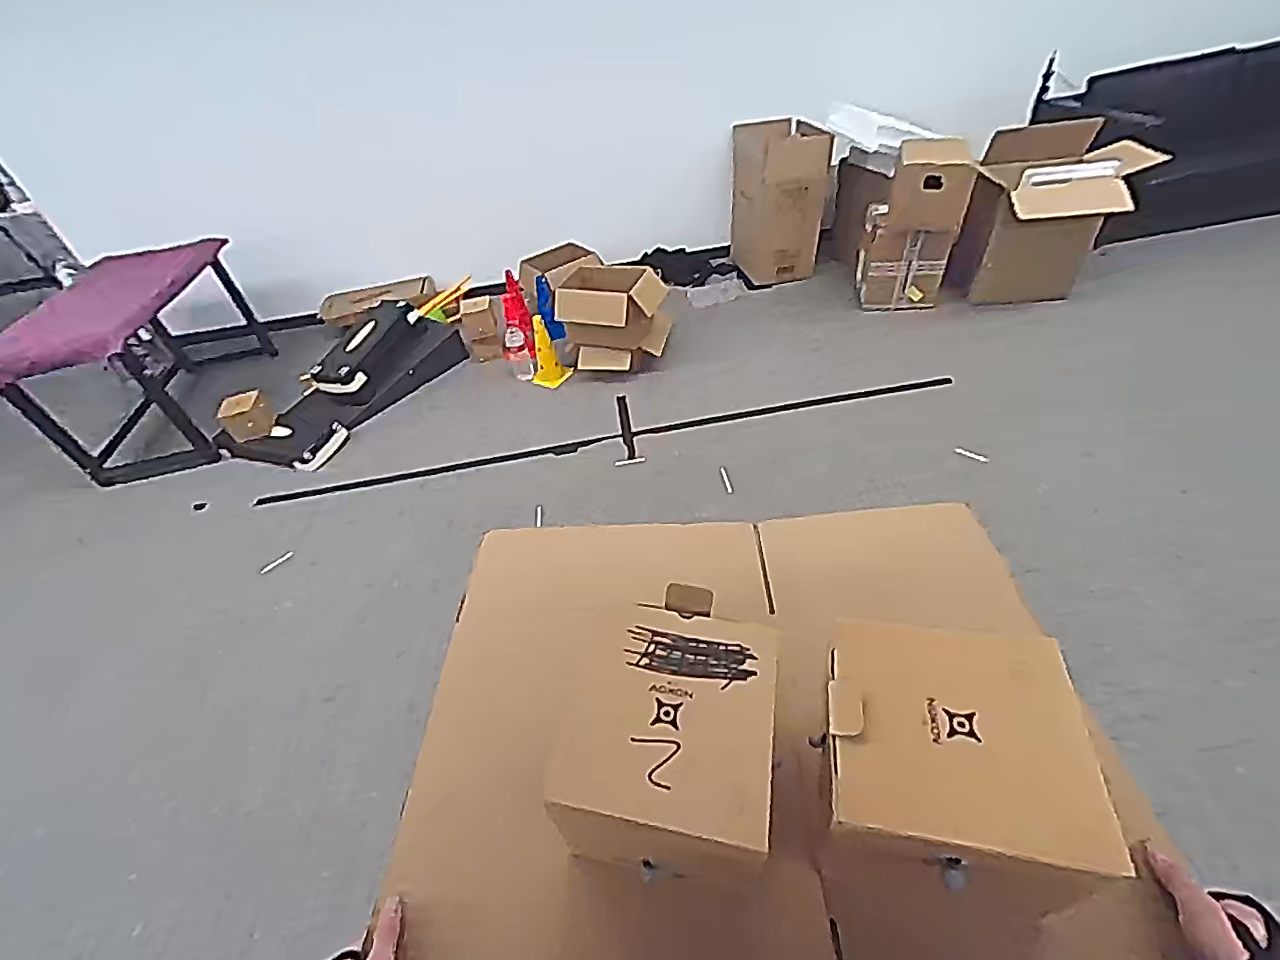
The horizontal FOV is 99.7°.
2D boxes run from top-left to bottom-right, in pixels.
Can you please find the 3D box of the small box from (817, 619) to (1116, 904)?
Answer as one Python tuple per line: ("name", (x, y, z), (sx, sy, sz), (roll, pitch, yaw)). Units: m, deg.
("small box", (0.253, 0.245, 0.474), (0.179, 0.176, 0.168), (1, 45, 17))
